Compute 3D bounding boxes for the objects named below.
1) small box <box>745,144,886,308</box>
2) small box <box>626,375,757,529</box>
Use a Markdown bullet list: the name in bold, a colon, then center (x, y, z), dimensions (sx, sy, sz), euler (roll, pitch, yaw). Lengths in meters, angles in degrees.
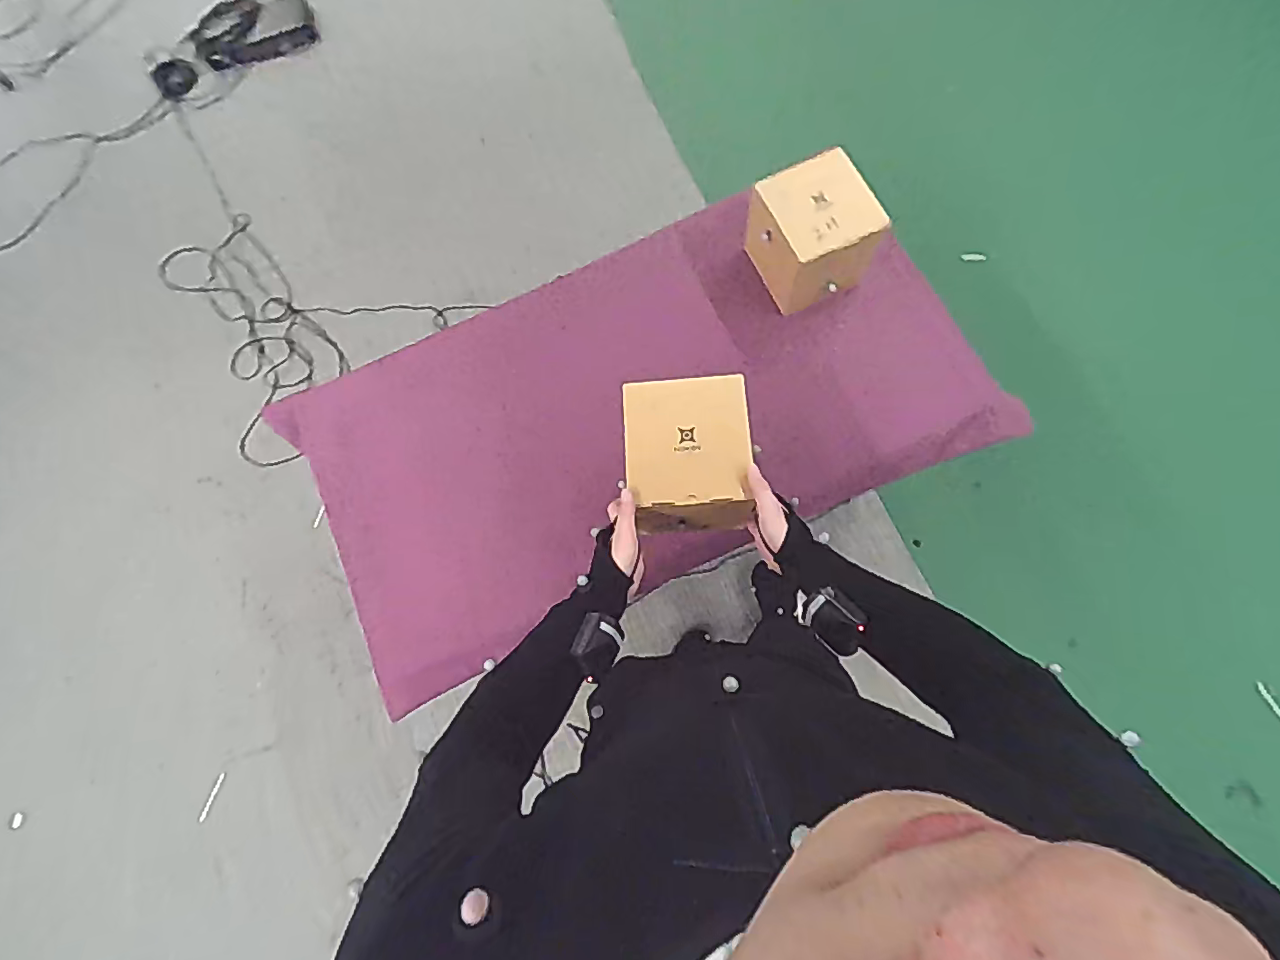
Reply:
- **small box**: center (0.302, -0.449, 0.977), dimensions (0.168, 0.176, 0.179), euler (-24, 77, 0)
- **small box**: center (0.068, -0.032, 0.779), dimensions (0.168, 0.176, 0.179), euler (-3, 74, 3)
